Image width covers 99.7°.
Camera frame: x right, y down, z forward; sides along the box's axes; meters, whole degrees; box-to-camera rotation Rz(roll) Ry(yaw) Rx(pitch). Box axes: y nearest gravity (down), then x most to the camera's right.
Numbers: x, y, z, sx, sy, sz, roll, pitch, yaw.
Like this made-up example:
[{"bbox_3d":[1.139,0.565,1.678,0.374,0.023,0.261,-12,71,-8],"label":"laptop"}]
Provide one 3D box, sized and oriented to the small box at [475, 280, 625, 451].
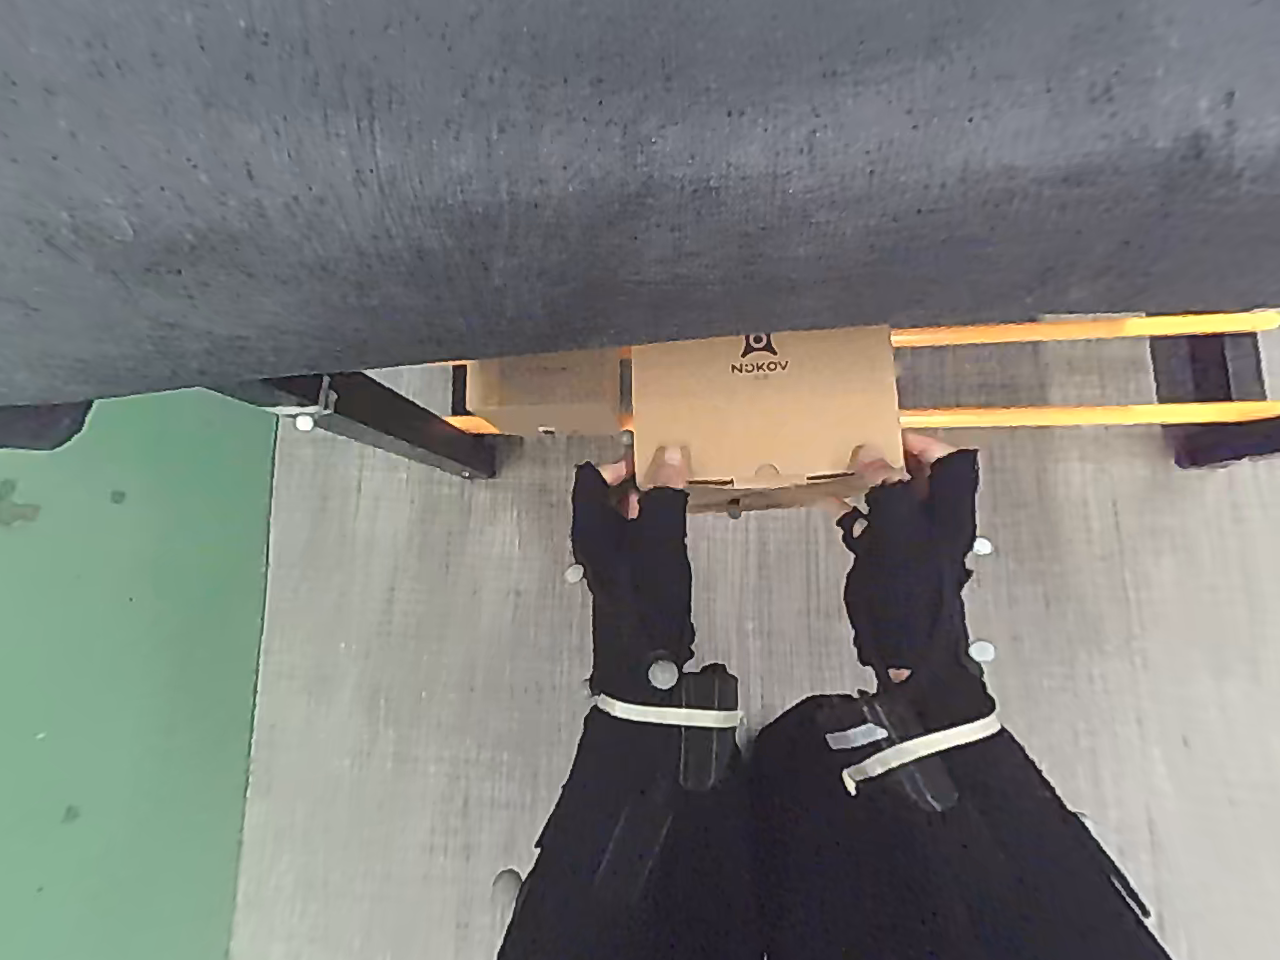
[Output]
[{"bbox_3d":[-0.108,-0.140,0.710,0.168,0.176,0.179,-1,83,2],"label":"small box"}]
